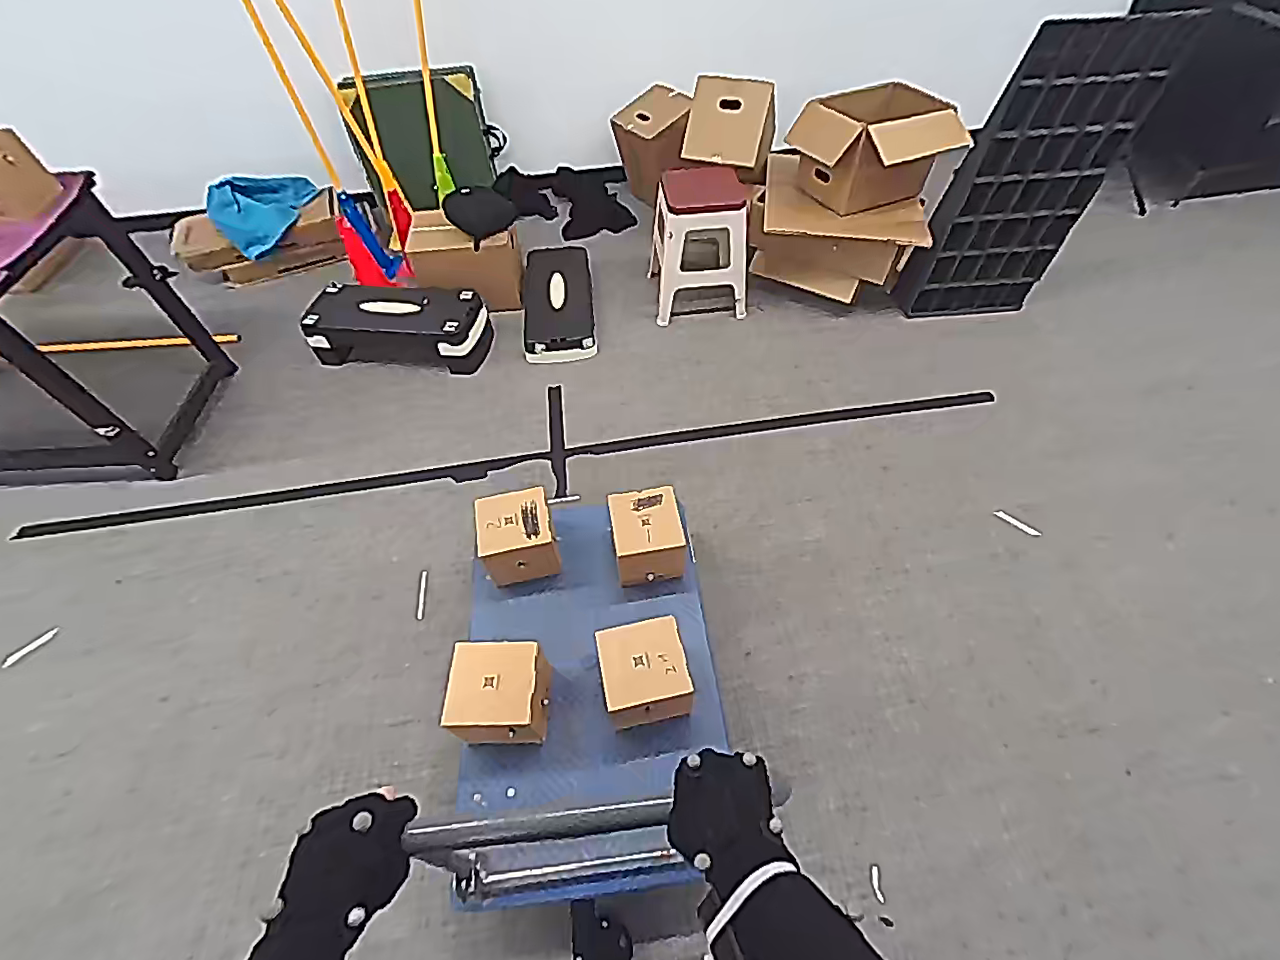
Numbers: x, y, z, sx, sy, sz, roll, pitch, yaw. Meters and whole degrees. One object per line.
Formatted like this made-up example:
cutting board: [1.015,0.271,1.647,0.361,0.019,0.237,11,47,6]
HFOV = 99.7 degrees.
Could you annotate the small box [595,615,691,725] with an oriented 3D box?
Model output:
small box: [0.007,0.416,1.173,0.179,0.176,0.168,-10,54,-5]

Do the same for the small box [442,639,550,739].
small box: [-0.298,0.451,1.159,0.179,0.176,0.168,0,54,0]

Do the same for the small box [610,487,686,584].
small box: [0.016,0.142,1.372,0.168,0.176,0.179,-8,55,-4]
